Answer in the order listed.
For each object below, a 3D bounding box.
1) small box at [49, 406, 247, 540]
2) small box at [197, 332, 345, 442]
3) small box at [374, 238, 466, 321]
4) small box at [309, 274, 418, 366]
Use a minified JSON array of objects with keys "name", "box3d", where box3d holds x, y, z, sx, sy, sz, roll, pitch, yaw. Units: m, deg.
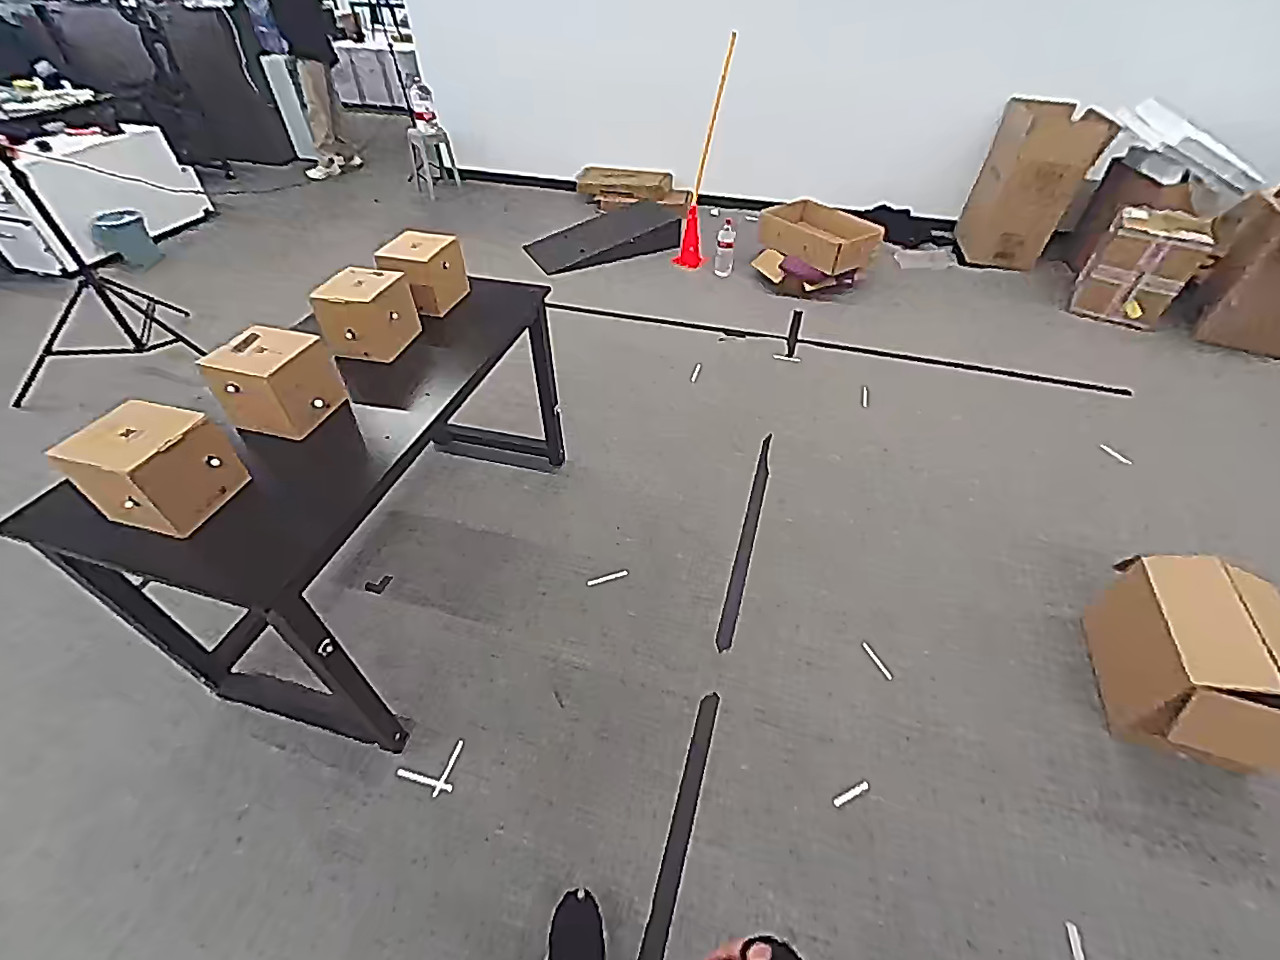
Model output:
[{"name":"small box","box3d":[-0.887,-0.011,0.999,0.179,0.176,0.168,10,44,10]},{"name":"small box","box3d":[-0.800,-0.203,1.194,0.179,0.176,0.168,11,46,10]},{"name":"small box","box3d":[-0.633,-0.585,1.582,0.168,0.176,0.179,11,46,11]},{"name":"small box","box3d":[-0.708,-0.416,1.412,0.168,0.176,0.179,8,46,8]}]
